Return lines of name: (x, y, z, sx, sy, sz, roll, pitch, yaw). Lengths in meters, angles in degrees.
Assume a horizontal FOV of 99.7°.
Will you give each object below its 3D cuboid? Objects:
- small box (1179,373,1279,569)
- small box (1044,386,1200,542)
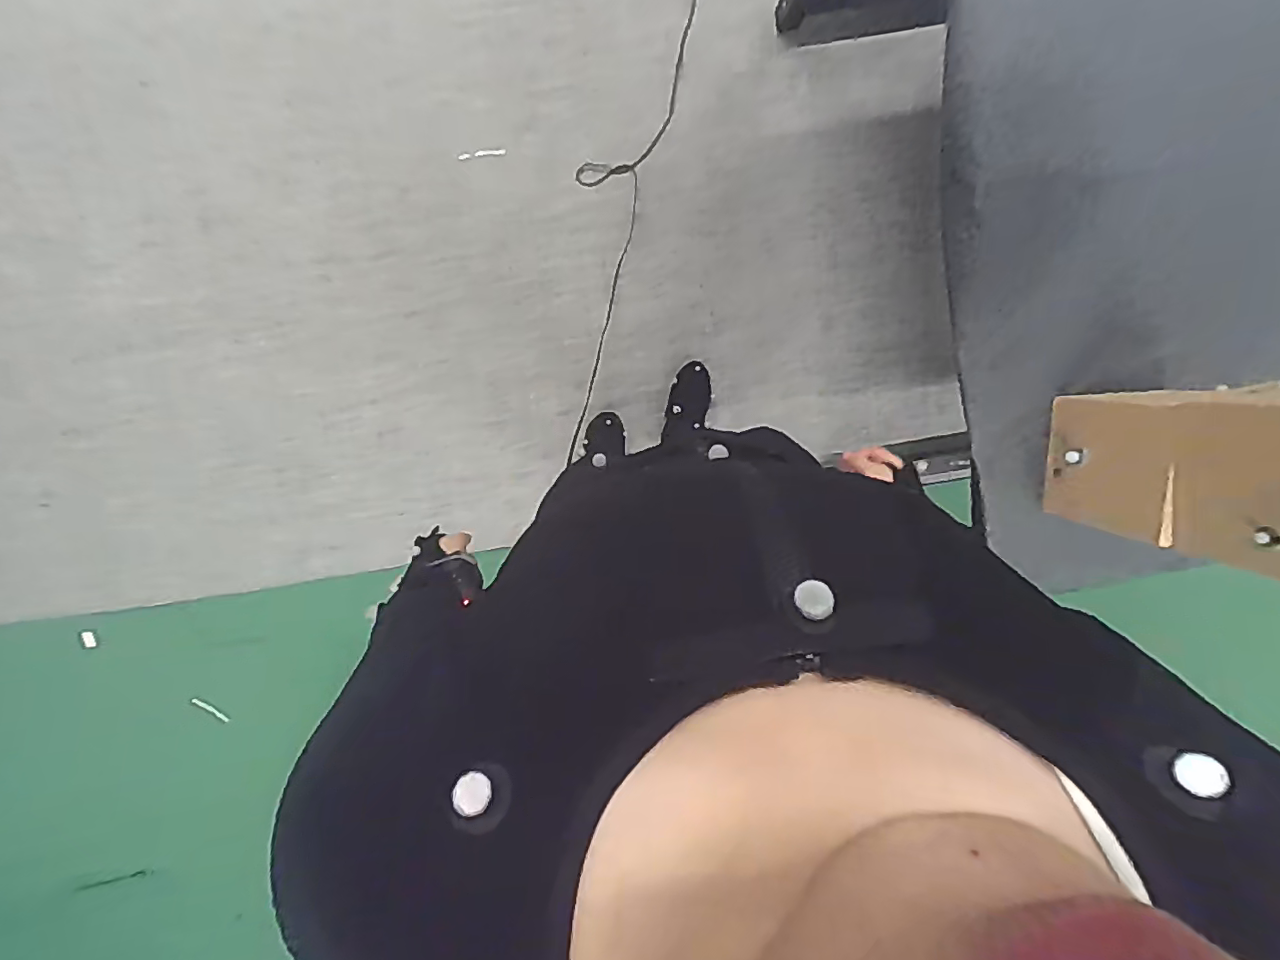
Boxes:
small box: (0.672, -0.011, 0.515, 0.168, 0.176, 0.179, -12, 100, -4)
small box: (0.659, -0.030, 0.676, 0.179, 0.176, 0.168, -4, 100, -4)
